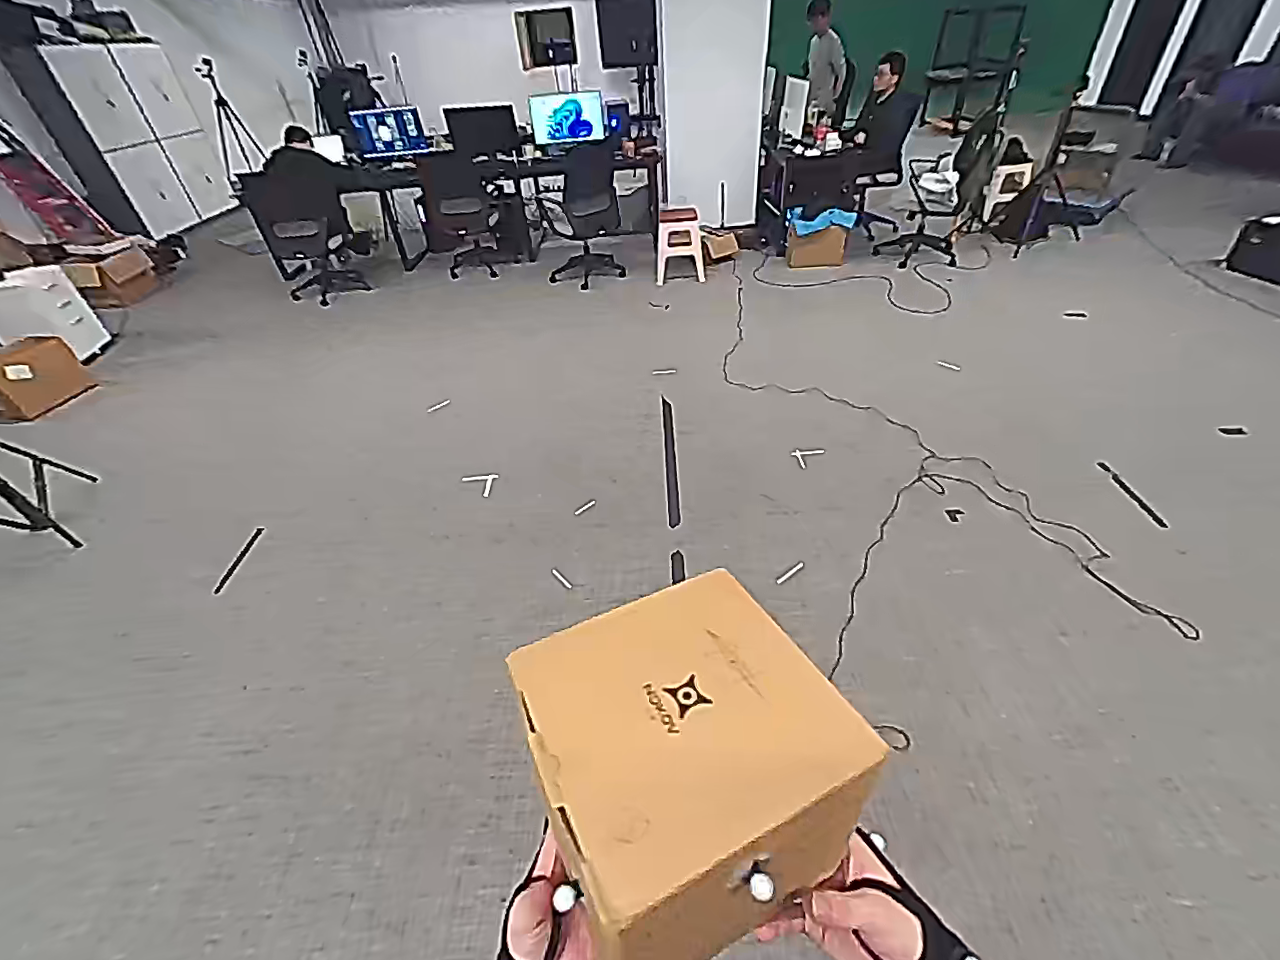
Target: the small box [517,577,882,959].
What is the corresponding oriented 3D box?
[{"bbox_3d":[0.030,0.206,0.383,0.179,0.176,0.168,-17,39,-23],"label":"small box"}]
